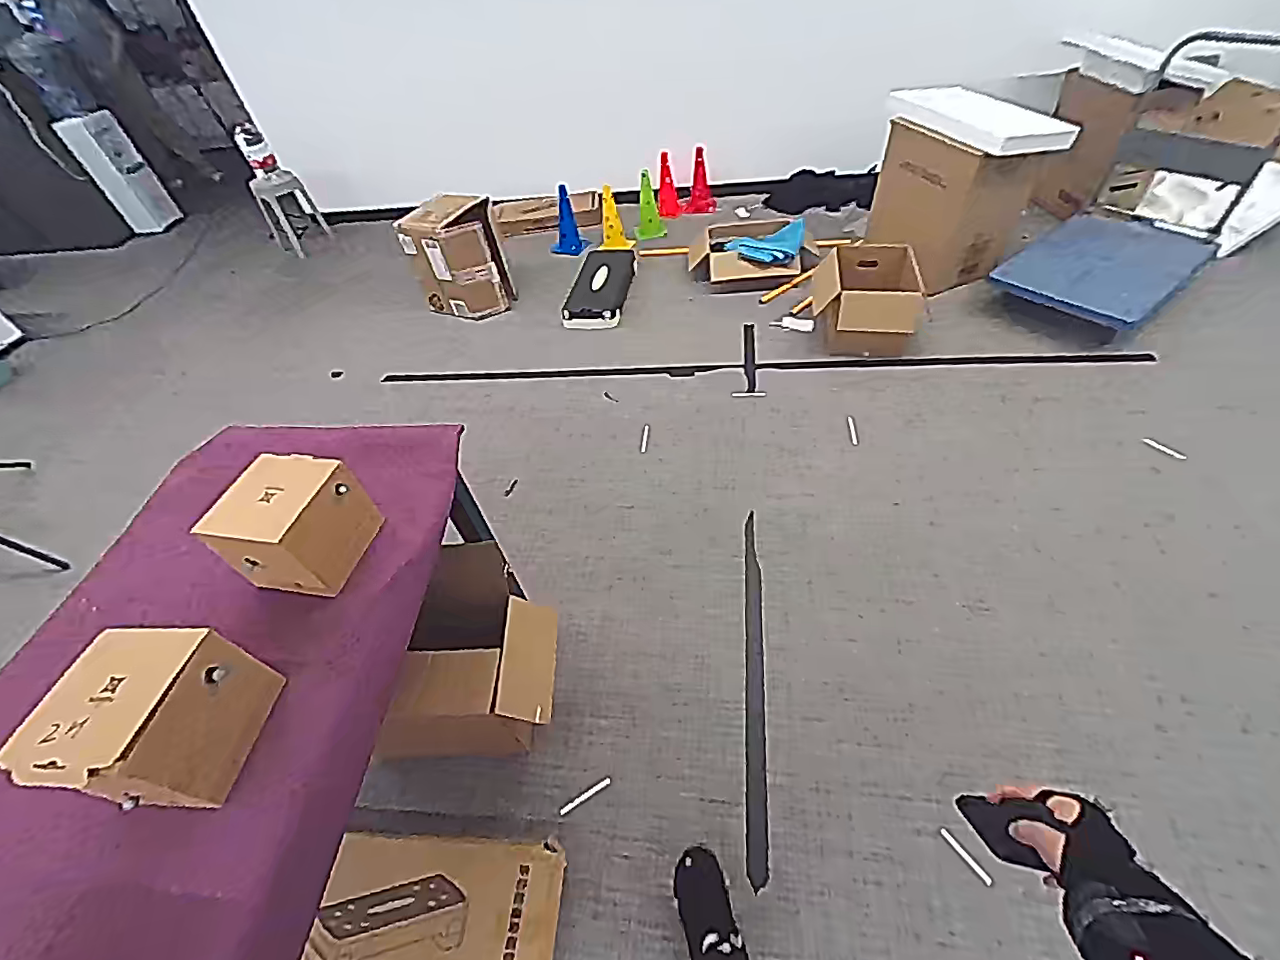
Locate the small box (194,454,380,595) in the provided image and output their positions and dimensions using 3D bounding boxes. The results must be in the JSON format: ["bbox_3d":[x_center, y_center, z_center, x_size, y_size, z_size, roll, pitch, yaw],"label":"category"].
[{"bbox_3d":[-0.584,0.078,0.926,0.168,0.176,0.179,4,48,12],"label":"small box"}]

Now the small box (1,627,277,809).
[{"bbox_3d":[-0.631,0.313,0.717,0.168,0.176,0.179,-3,48,9],"label":"small box"}]
